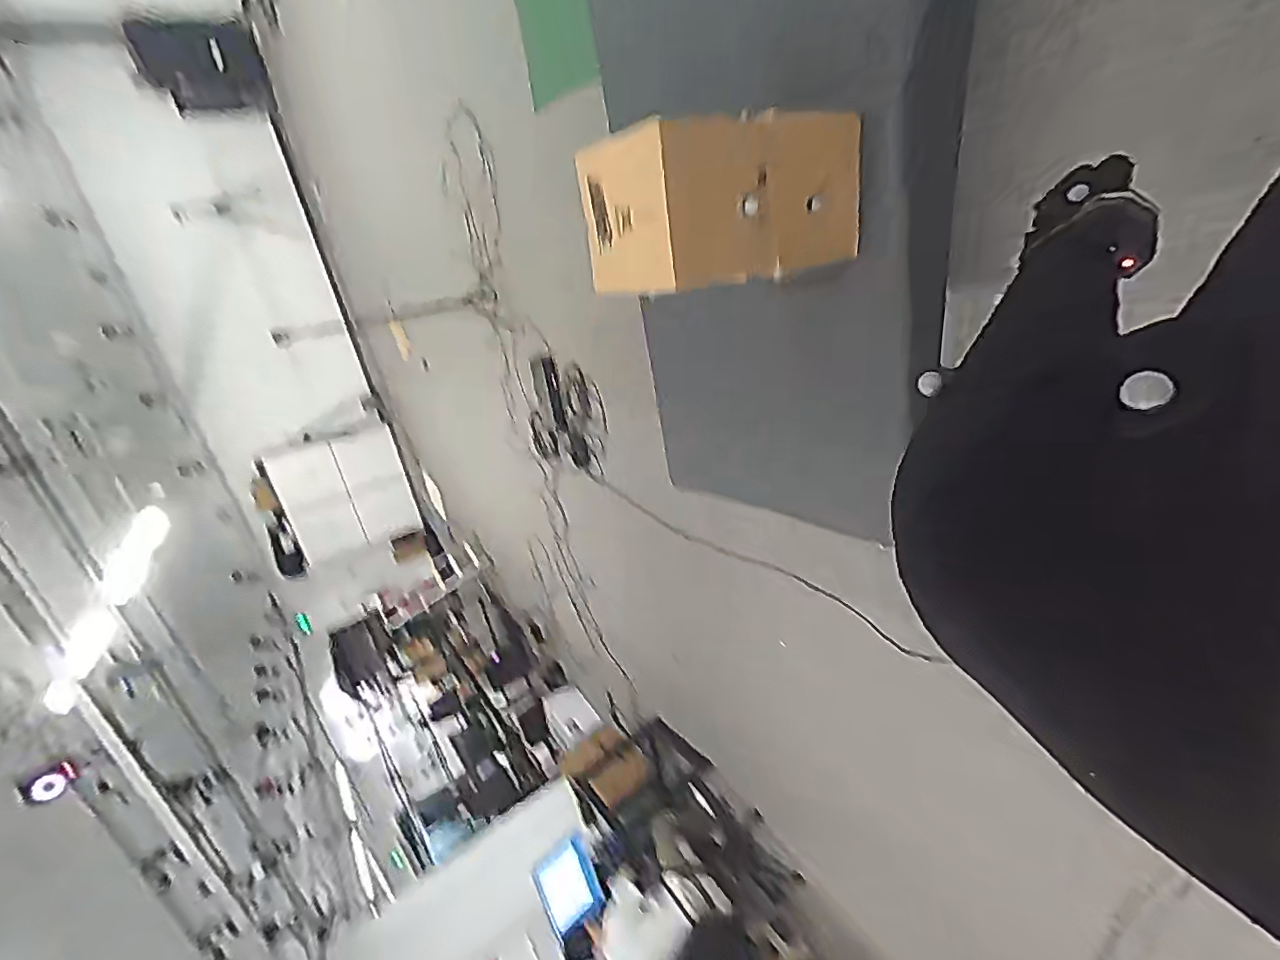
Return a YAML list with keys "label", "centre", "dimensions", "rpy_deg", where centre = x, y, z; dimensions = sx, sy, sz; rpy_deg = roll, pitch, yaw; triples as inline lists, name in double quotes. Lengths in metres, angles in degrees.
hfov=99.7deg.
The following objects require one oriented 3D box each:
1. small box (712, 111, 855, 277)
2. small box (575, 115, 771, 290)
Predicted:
- label: "small box"
  centre: [0.180, -0.392, 0.754]
  dimensions: [0.168, 0.176, 0.179]
  rpy_deg: [24, 130, 51]
- label: "small box"
  centre: [0.041, -0.340, 0.682]
  dimensions: [0.179, 0.176, 0.168]
  rpy_deg: [23, 128, 54]
